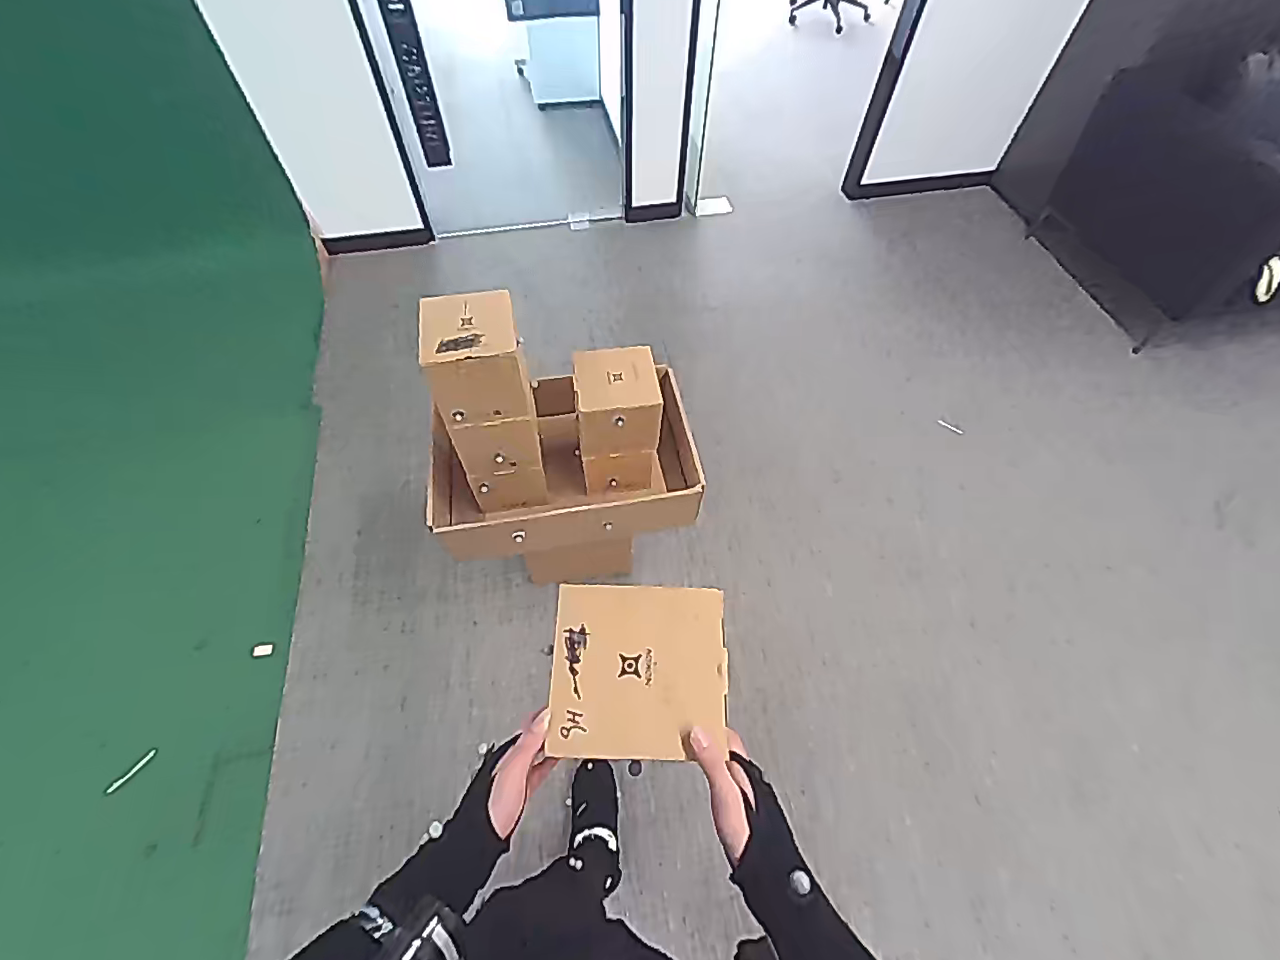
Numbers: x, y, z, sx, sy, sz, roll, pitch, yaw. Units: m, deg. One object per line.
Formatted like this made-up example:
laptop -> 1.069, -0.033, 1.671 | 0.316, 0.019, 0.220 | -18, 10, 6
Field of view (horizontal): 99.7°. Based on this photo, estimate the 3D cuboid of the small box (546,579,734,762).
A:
small box -> 0.000, 0.218, 0.603 | 0.179, 0.176, 0.168 | 3, 62, -1

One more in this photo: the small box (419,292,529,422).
small box -> -0.309, -0.225, 1.024 | 0.168, 0.176, 0.179 | -9, 57, -9

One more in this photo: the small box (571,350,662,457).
small box -> -0.054, -0.163, 1.195 | 0.179, 0.176, 0.168 | -6, 59, -7

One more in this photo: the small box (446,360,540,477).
small box -> -0.311, -0.130, 1.159 | 0.168, 0.176, 0.179 | -8, 57, -8
